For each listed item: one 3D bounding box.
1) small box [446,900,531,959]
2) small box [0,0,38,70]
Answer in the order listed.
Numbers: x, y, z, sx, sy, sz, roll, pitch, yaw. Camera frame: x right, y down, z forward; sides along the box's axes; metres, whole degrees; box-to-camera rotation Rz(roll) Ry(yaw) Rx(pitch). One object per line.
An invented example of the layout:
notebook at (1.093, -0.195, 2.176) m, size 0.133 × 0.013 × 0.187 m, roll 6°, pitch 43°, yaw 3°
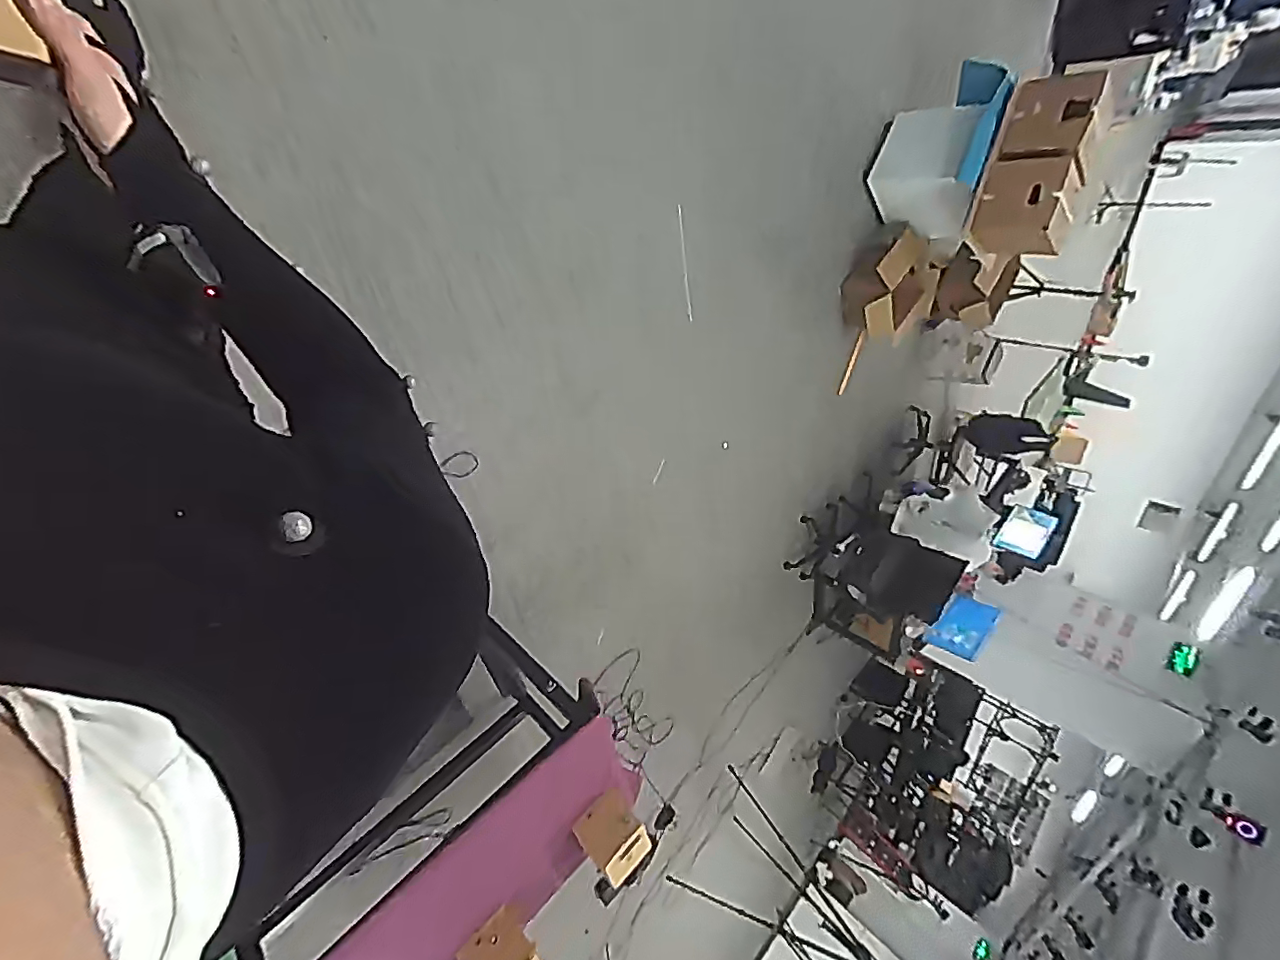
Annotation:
small box at (-0.427, 1.367, 1.552) m, size 0.168 × 0.176 × 0.179 m, roll -32°, pitch 129°, yaw -30°
small box at (-0.534, -0.406, 0.352) m, size 0.168 × 0.176 × 0.179 m, roll -12°, pitch 119°, yaw -43°
